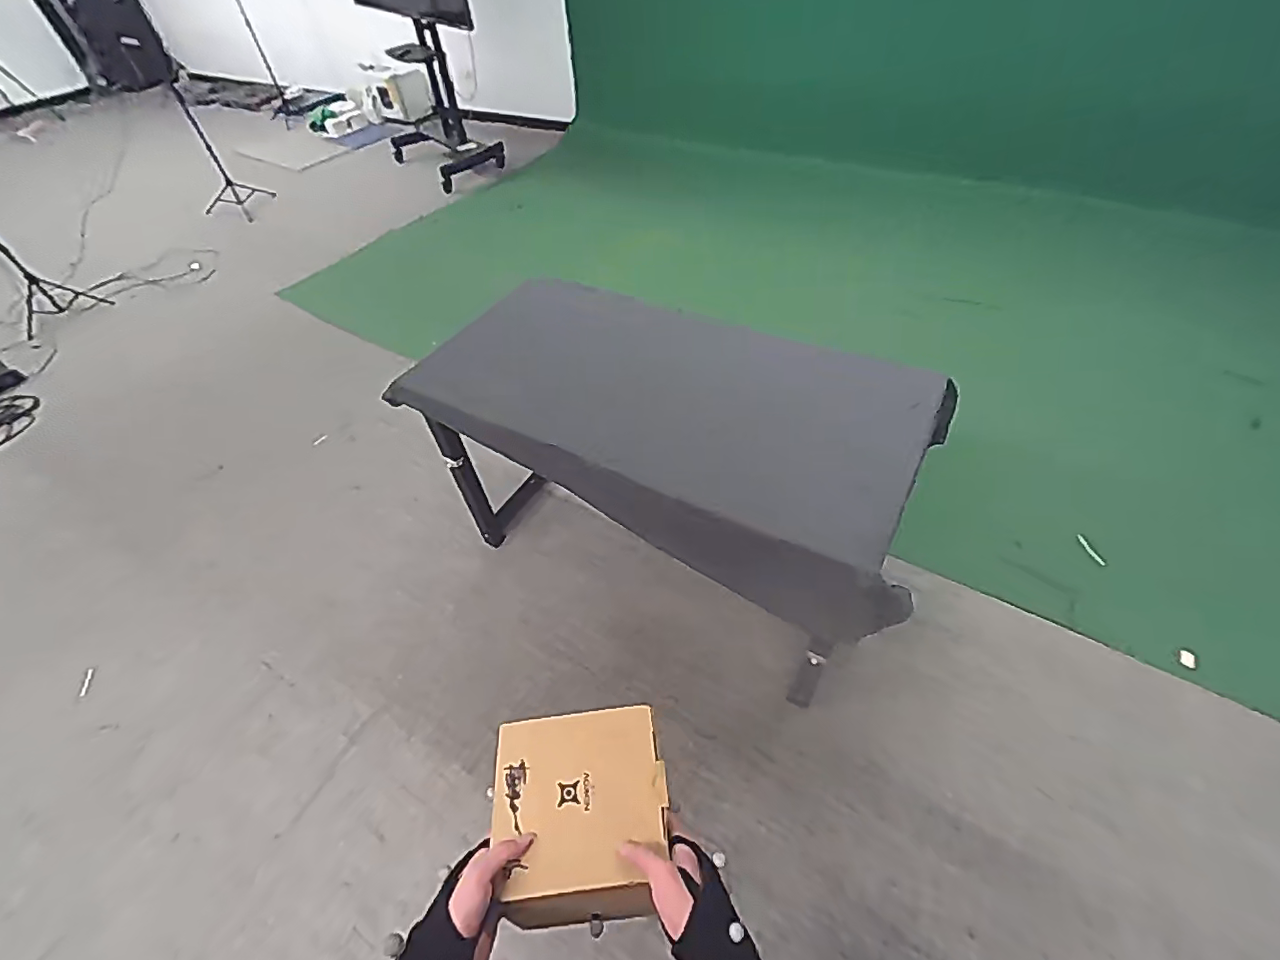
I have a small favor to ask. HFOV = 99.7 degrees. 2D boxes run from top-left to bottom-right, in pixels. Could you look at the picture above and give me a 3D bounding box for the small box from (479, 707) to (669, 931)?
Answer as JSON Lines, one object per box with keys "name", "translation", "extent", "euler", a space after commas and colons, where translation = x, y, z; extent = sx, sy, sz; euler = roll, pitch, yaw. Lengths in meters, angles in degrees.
{"name": "small box", "translation": [-0.063, 0.377, 0.602], "extent": [0.179, 0.176, 0.168], "euler": [-6, 42, -2]}
